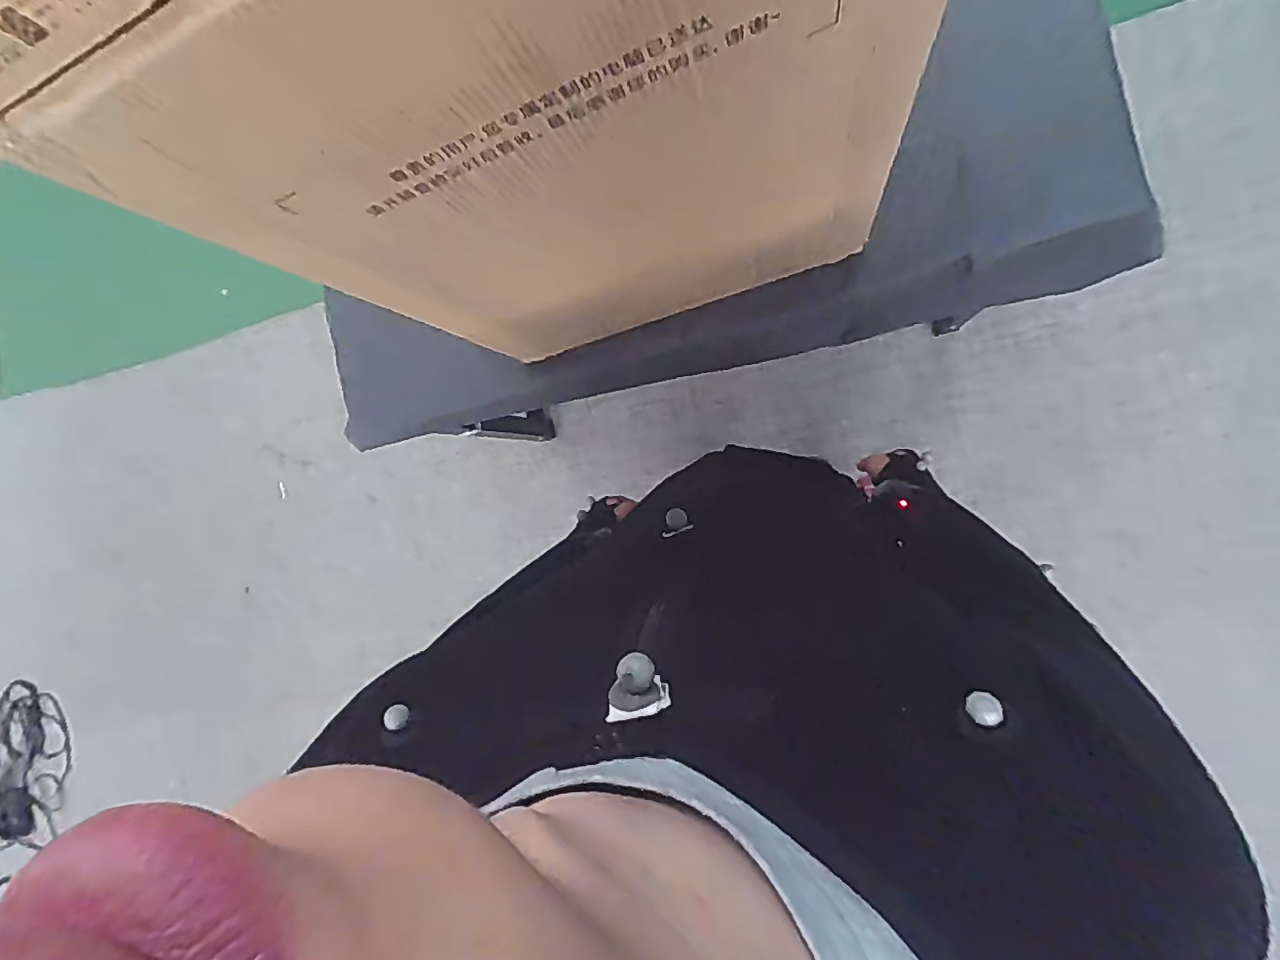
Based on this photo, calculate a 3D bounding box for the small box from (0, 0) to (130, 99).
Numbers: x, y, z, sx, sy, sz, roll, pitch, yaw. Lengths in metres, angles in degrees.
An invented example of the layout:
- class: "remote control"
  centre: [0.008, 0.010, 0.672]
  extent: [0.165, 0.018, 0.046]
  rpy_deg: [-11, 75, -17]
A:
- class: "small box"
  centre: [-0.331, -0.266, 0.185]
  extent: [0.168, 0.176, 0.179]
  rpy_deg: [-14, 89, 17]
